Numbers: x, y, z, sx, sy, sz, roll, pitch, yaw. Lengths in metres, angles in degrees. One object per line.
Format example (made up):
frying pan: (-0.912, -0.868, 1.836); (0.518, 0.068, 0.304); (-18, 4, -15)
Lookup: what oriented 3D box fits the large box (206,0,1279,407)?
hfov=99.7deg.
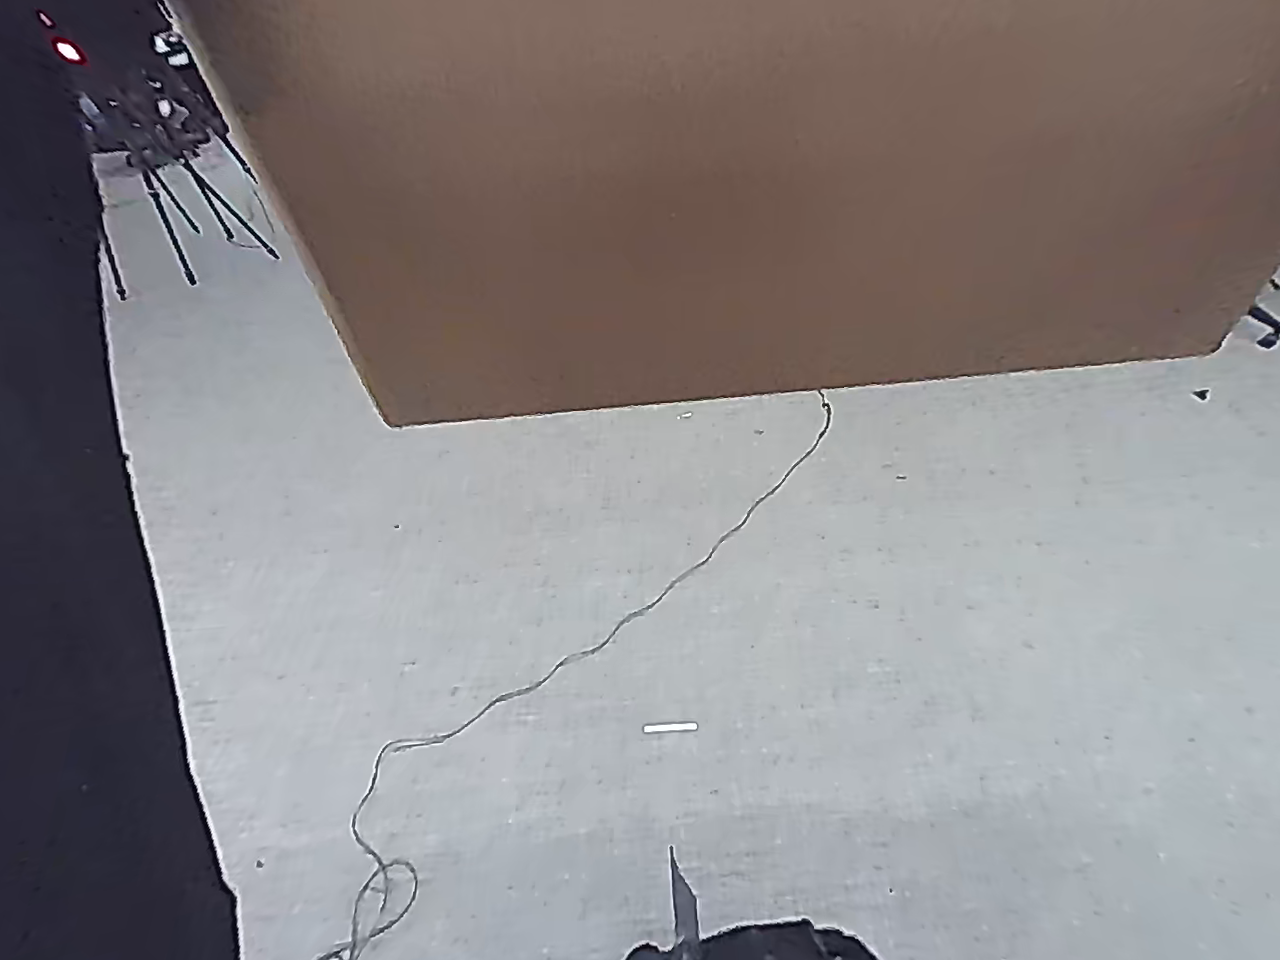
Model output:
large box: (0.053, -0.260, 0.274); (0.408, 0.320, 0.320); (-5, 44, 0)
